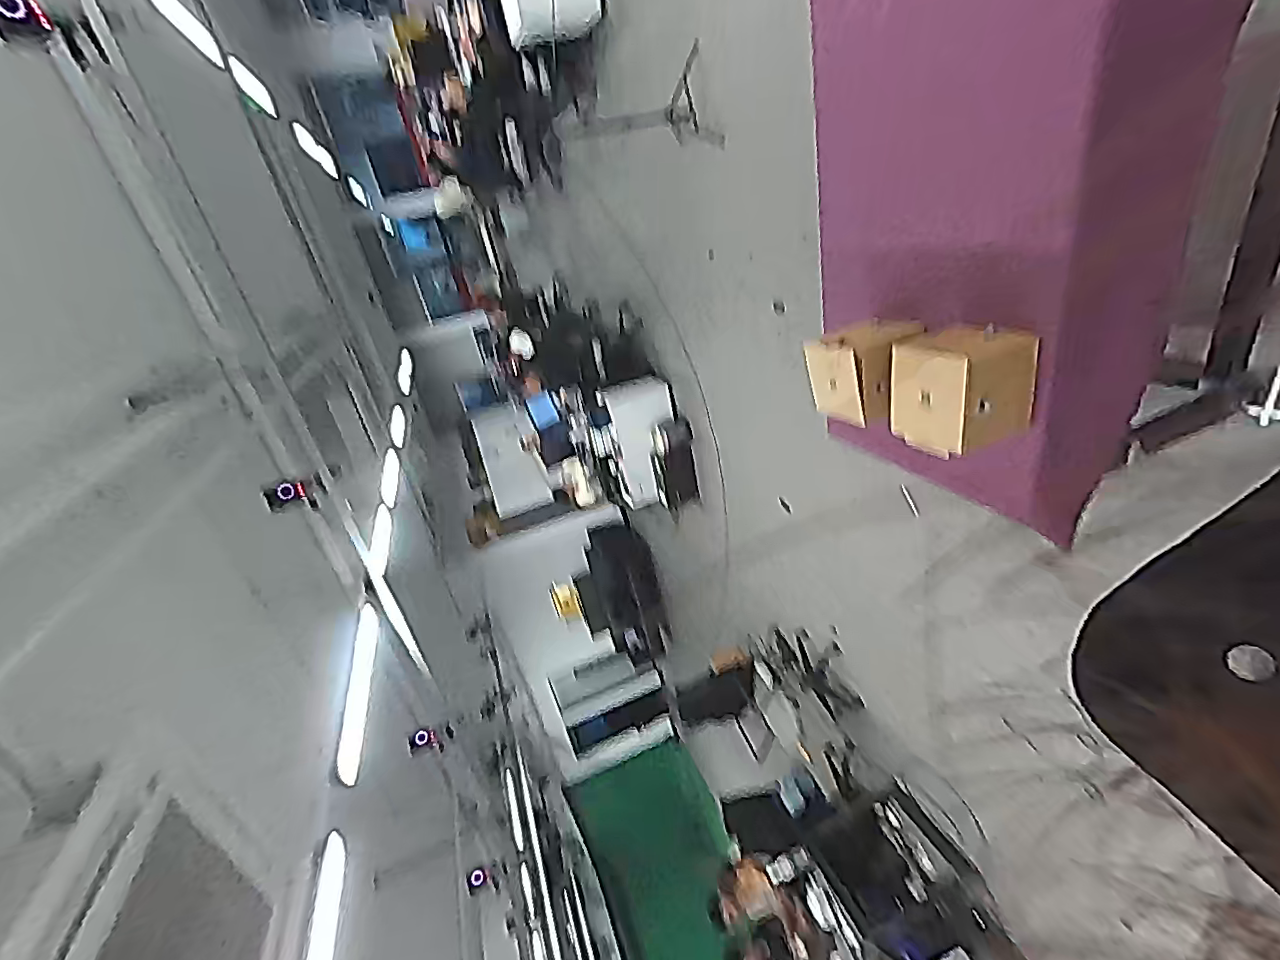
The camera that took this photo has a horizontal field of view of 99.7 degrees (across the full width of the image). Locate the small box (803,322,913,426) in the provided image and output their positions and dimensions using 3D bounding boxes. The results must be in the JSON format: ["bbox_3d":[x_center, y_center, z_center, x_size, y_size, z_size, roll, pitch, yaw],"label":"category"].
[{"bbox_3d":[0.496,-0.244,1.223,0.168,0.176,0.179,-140,33,-61],"label":"small box"}]

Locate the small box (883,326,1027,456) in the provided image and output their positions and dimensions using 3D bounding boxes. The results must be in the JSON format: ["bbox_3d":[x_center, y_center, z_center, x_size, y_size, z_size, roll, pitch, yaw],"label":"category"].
[{"bbox_3d":[0.582,-0.172,1.009,0.168,0.176,0.179,-137,31,-60],"label":"small box"}]
